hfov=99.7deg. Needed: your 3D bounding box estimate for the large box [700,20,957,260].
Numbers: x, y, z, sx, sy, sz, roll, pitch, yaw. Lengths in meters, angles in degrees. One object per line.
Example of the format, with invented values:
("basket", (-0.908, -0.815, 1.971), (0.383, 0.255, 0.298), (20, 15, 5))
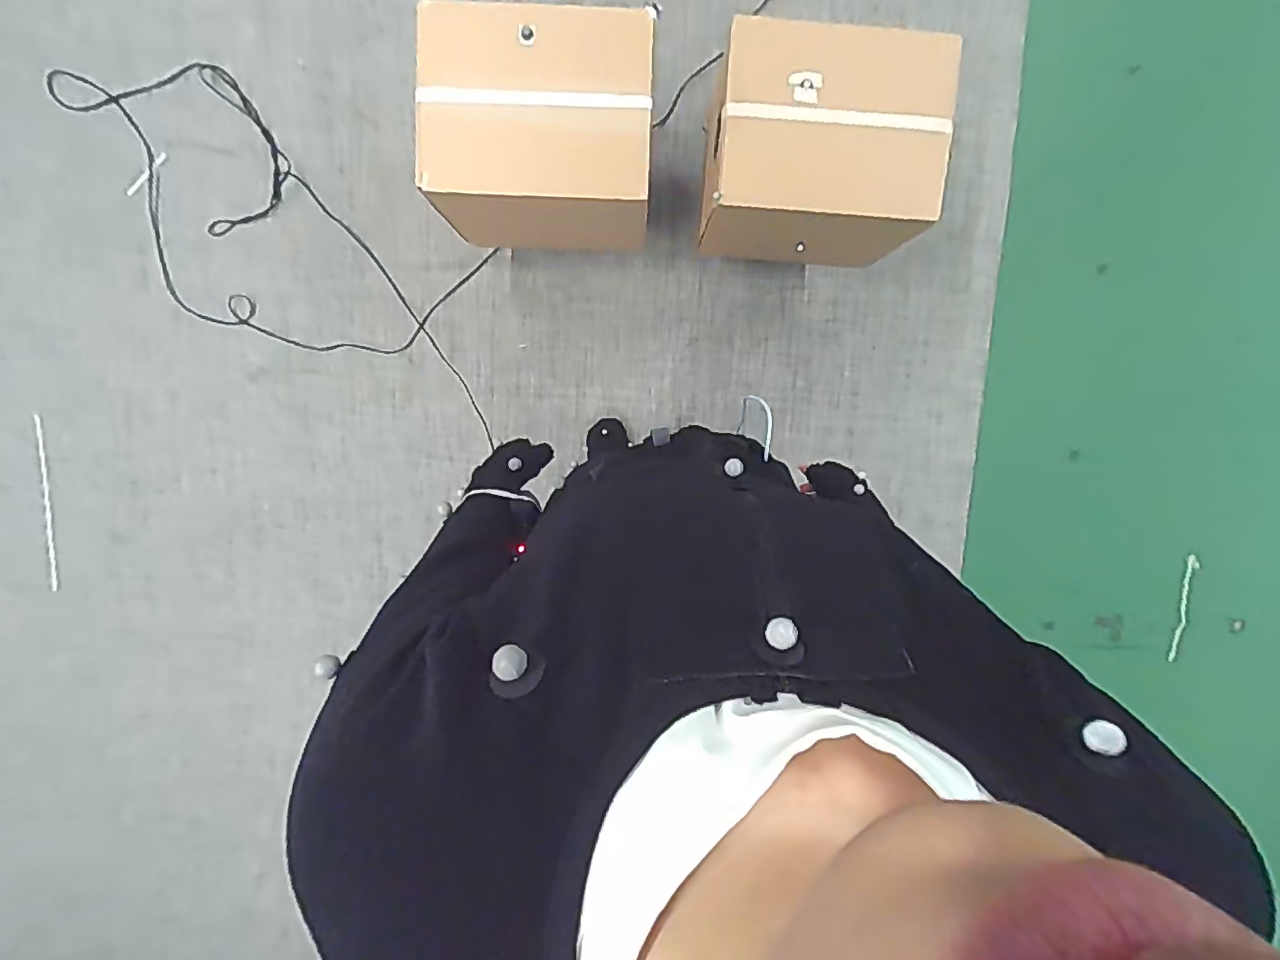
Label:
("large box", (0.350, -0.658, 1.109), (0.408, 0.320, 0.320), (4, 97, -1))
